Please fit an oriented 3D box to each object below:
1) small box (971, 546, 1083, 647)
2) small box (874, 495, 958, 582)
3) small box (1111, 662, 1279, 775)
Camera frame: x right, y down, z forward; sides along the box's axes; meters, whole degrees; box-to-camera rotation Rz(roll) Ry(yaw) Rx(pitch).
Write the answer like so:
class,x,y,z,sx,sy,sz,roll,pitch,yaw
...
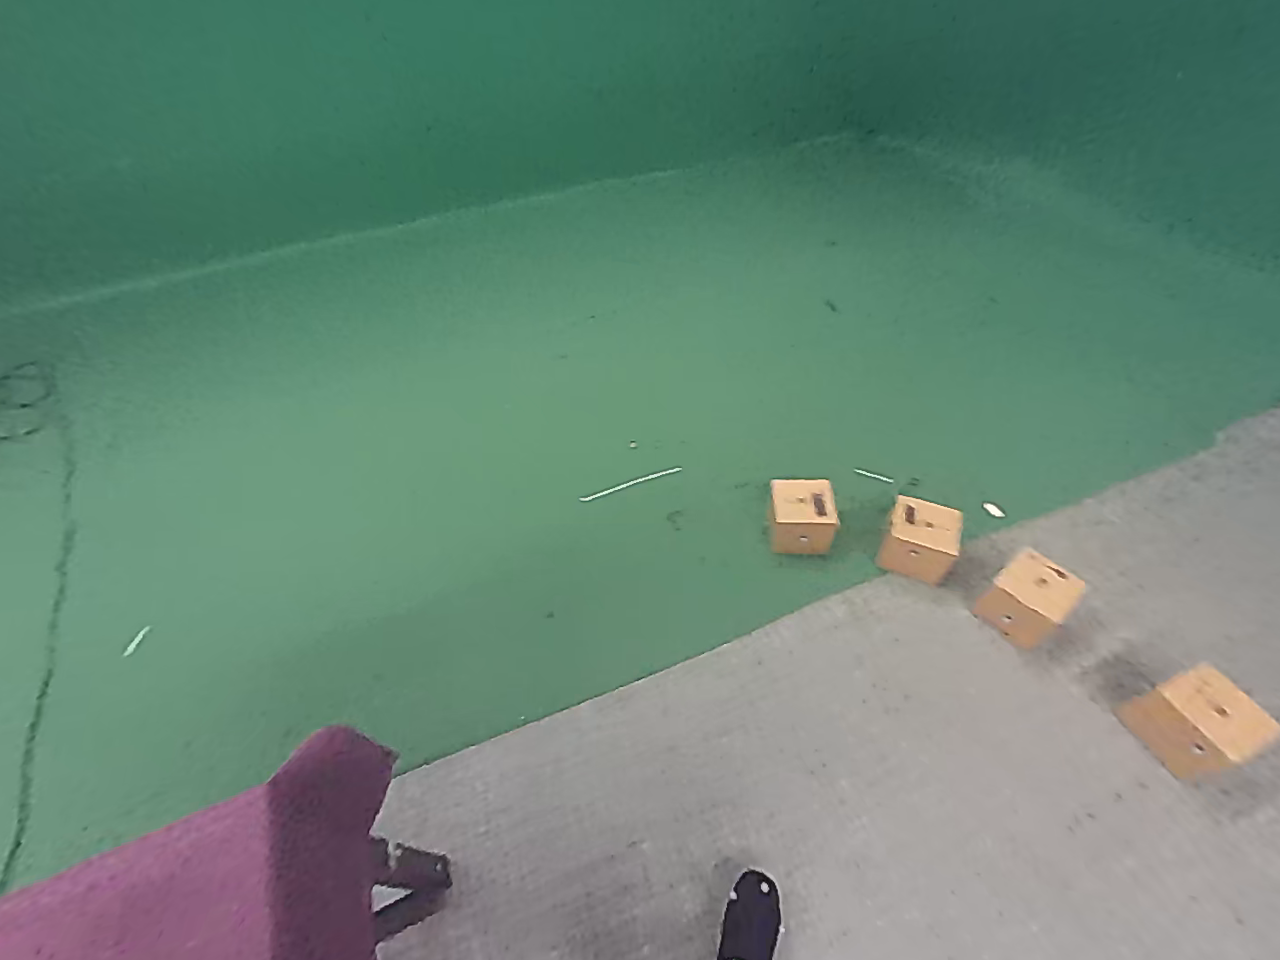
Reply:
class,x,y,z,sx,sy,sz,roll,pitch,yaw
small box,1.043,0.323,1.477,0.179,0.176,0.168,-34,56,-22
small box,0.819,0.179,1.613,0.179,0.176,0.168,18,53,17
small box,1.277,0.562,1.260,0.168,0.176,0.179,-20,52,-13
